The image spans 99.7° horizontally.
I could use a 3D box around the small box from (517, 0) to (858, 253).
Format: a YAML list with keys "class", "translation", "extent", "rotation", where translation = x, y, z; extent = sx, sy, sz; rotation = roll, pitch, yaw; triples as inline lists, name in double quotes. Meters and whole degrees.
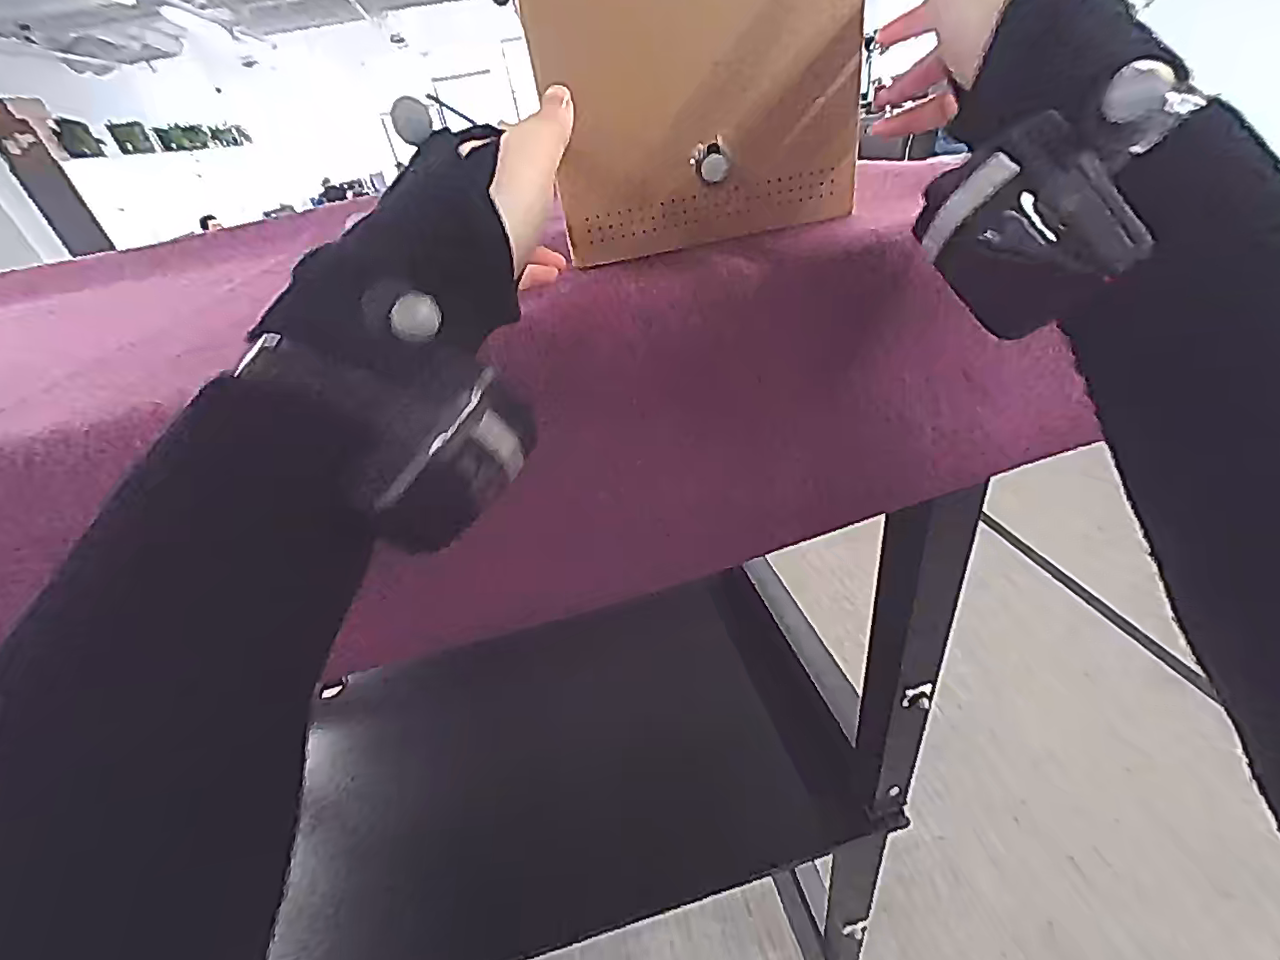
- class: "small box"
  translation: [0.022, -0.259, 0.344]
  extent: [0.179, 0.176, 0.168]
  rotation: [-12, 33, -2]
